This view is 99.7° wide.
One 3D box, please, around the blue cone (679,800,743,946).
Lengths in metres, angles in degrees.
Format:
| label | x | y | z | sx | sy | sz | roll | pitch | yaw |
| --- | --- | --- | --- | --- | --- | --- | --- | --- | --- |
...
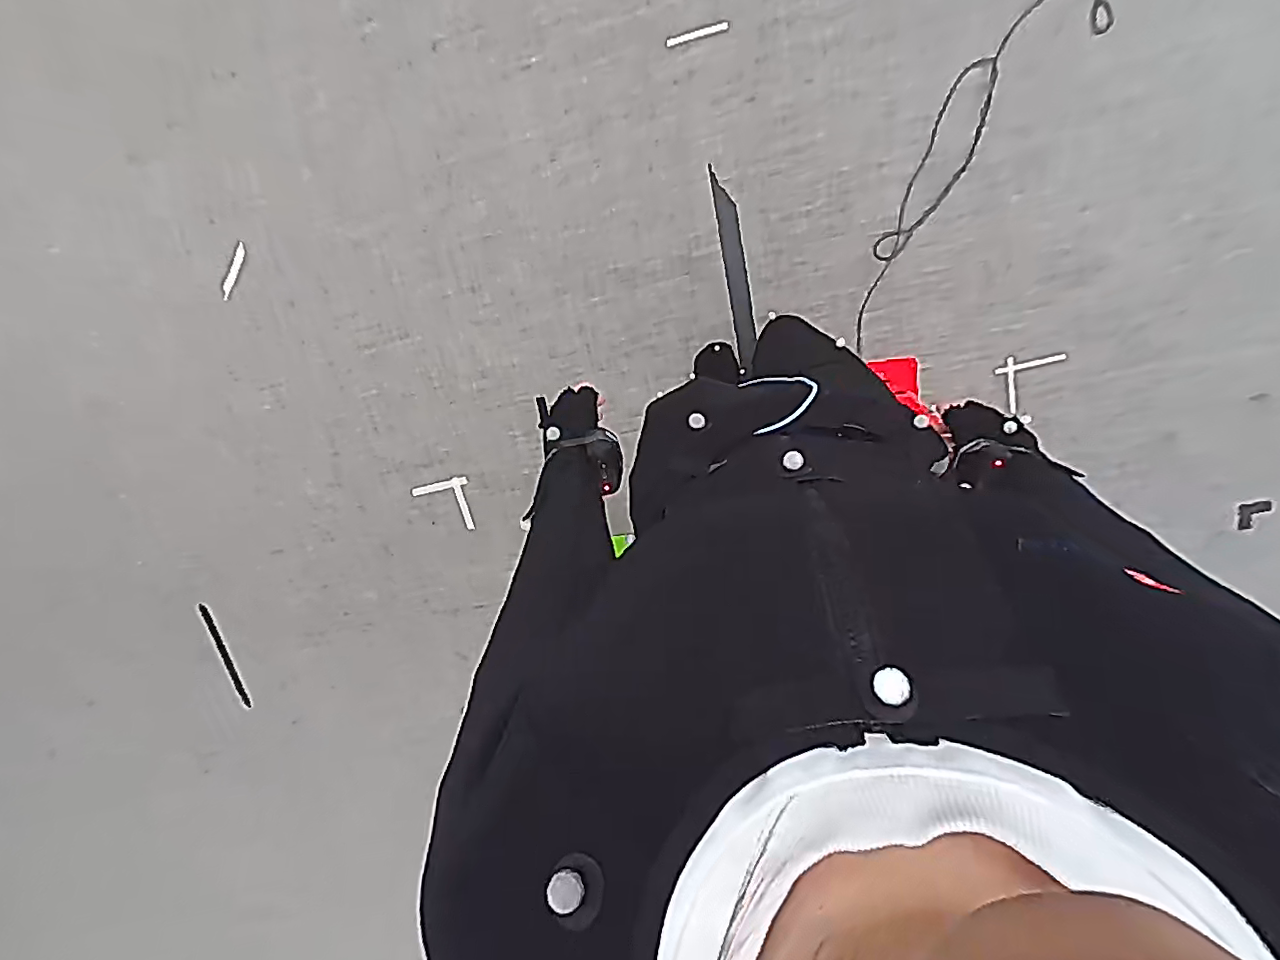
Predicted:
| label | x | y | z | sx | sy | sz | roll | pitch | yaw |
| --- | --- | --- | --- | --- | --- | --- | --- | --- | --- |
| blue cone | 0.207 | 1.146 | 1.575 | 0.192 | 0.380 | 0.193 | -6 | 104 | 10 |

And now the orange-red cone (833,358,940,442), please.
| label | x | y | z | sx | sy | sz | roll | pitch | yaw |
| --- | --- | --- | --- | --- | --- | --- | --- | --- | --- |
| orange-red cone | 0.561 | -0.148 | 1.173 | 0.199 | 0.360 | 0.198 | -6 | 106 | 7 |
